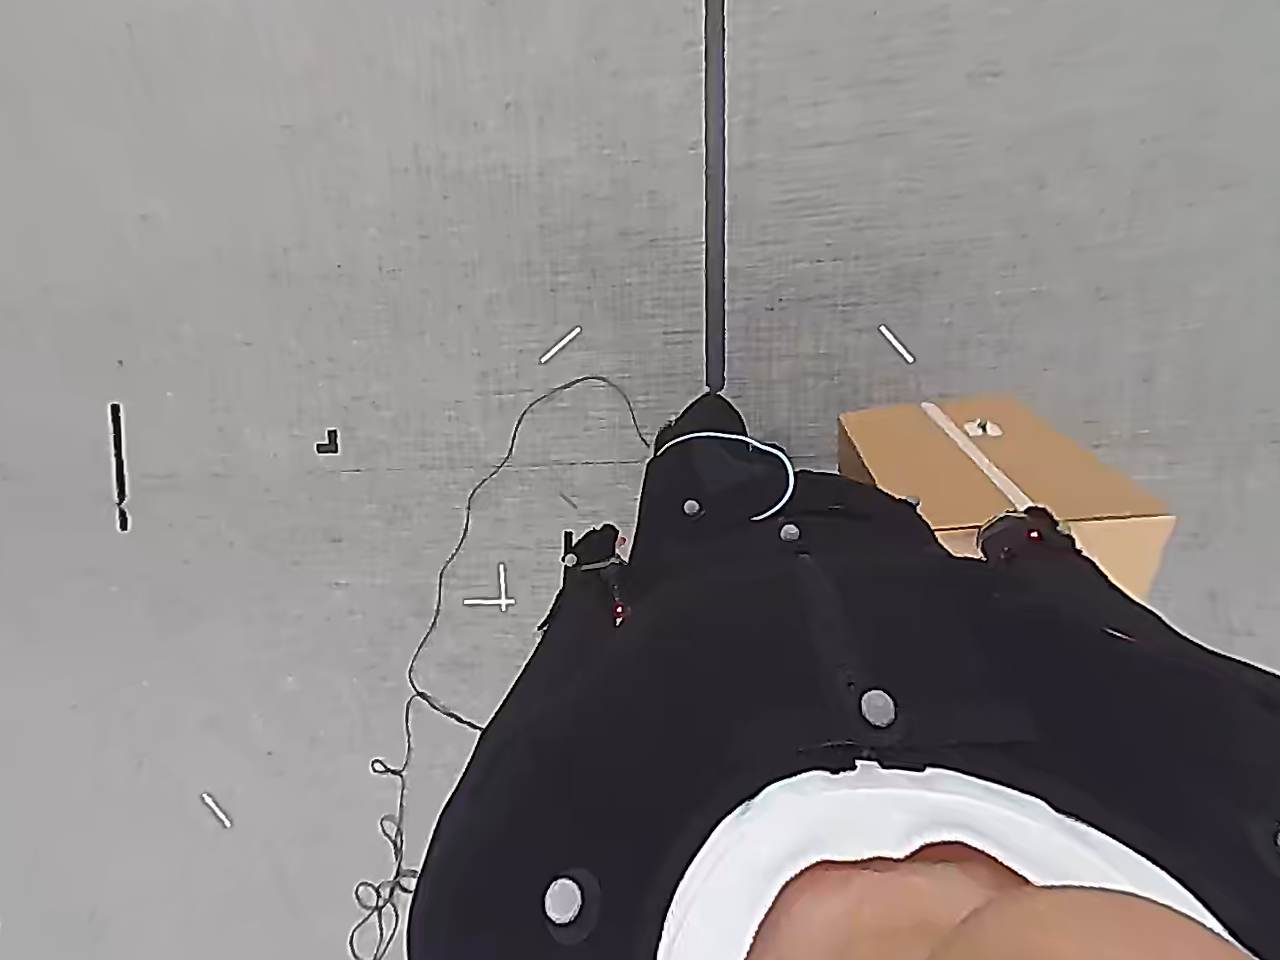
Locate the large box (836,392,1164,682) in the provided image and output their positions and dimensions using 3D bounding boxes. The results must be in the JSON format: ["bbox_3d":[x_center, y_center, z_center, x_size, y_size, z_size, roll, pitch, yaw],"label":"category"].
[{"bbox_3d":[0.544,0.079,0.930,0.320,0.408,0.320,-5,119,9],"label":"large box"}]
